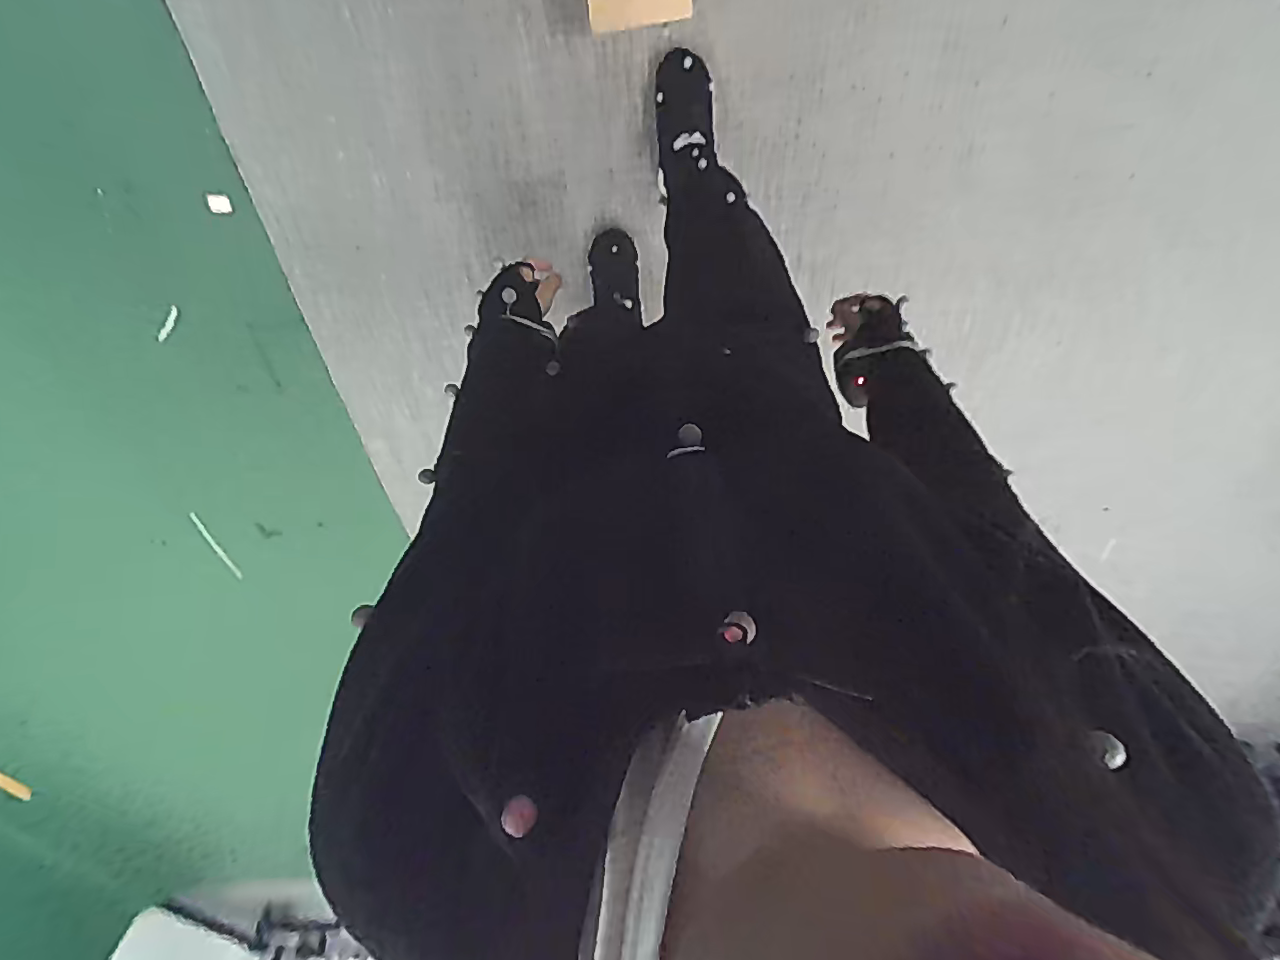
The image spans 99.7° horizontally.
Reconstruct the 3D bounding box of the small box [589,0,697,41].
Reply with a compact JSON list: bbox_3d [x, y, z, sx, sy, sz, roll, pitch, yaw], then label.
[{"bbox_3d":[-0.004,-0.869,0.922,0.179,0.176,0.168,-7,129,4],"label":"small box"}]
